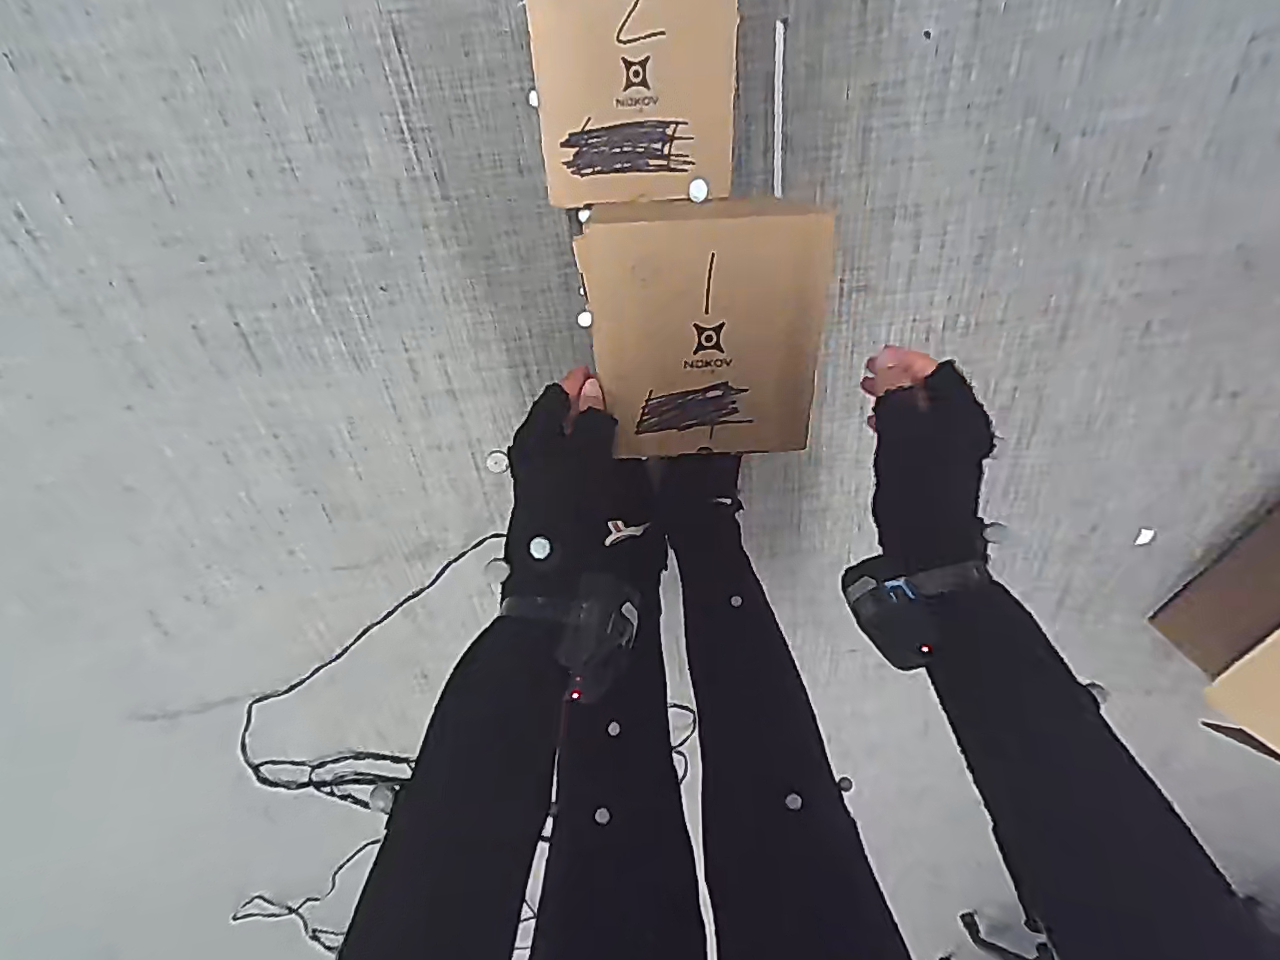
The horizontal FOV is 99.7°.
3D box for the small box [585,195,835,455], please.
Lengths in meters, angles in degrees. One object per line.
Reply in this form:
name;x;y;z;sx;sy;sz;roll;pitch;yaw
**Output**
small box;0.046;-0.137;0.461;0.168;0.176;0.179;-3;120;-1
